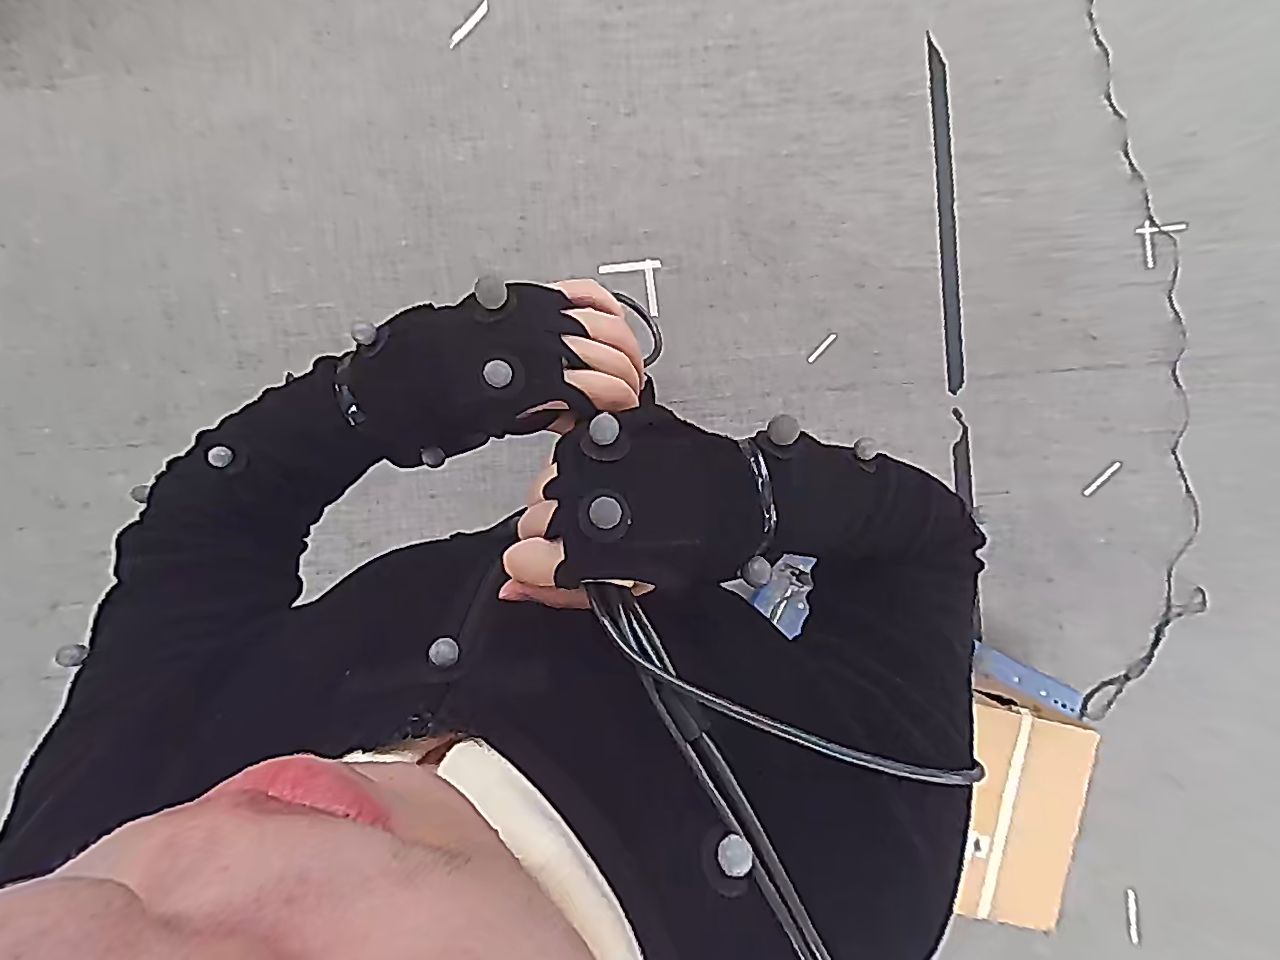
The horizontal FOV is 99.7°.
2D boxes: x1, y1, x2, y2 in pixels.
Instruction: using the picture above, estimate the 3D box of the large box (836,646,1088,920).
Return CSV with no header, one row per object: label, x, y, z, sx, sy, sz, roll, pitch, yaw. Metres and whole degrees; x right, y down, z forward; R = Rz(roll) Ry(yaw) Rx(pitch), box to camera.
large box,0.682,0.636,1.202,0.320,0.320,0.408,15,90,-2
